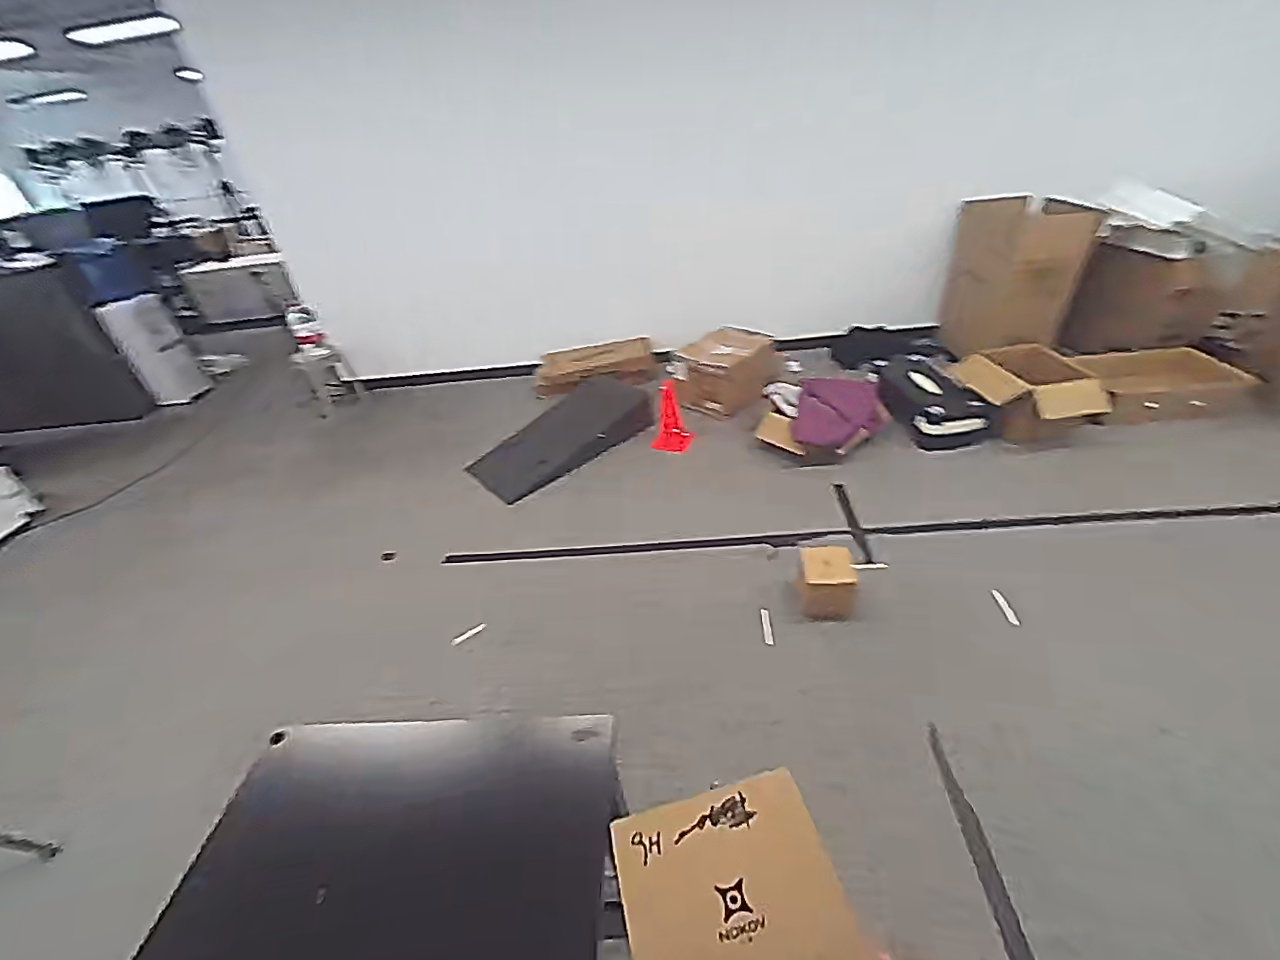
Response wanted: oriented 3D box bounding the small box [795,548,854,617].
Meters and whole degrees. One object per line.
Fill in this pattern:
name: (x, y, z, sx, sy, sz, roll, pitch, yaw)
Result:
small box: (0.644, 0.360, 1.908, 0.168, 0.176, 0.179, -4, 35, 7)
